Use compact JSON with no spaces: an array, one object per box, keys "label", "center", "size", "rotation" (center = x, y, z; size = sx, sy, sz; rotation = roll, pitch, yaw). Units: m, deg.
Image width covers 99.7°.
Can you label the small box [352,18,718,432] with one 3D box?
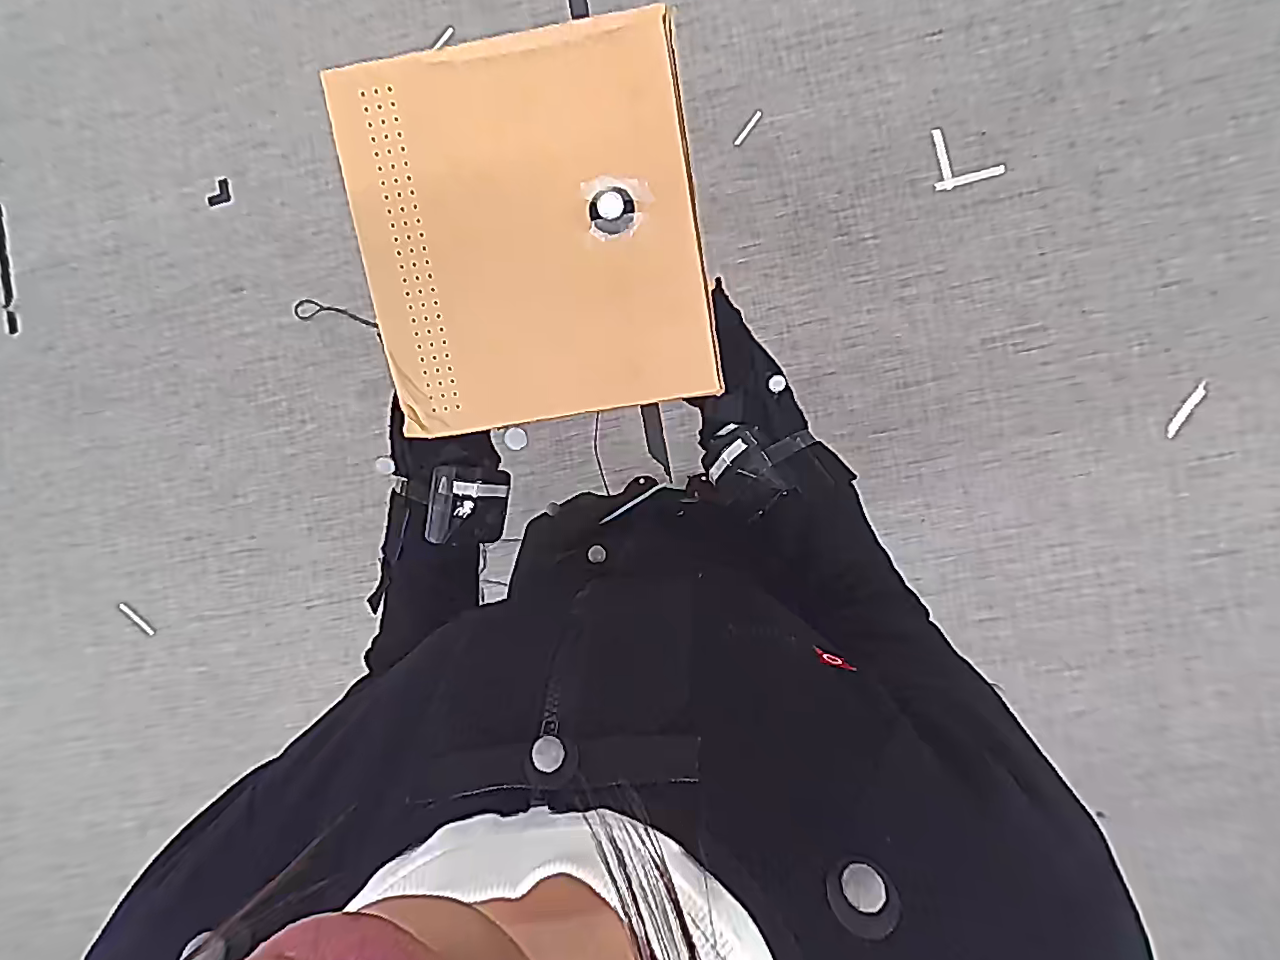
[{"label":"small box","center":[-0.053,-0.135,0.349],"size":[0.176,0.168,0.179],"rotation":[-9,99,4]}]
